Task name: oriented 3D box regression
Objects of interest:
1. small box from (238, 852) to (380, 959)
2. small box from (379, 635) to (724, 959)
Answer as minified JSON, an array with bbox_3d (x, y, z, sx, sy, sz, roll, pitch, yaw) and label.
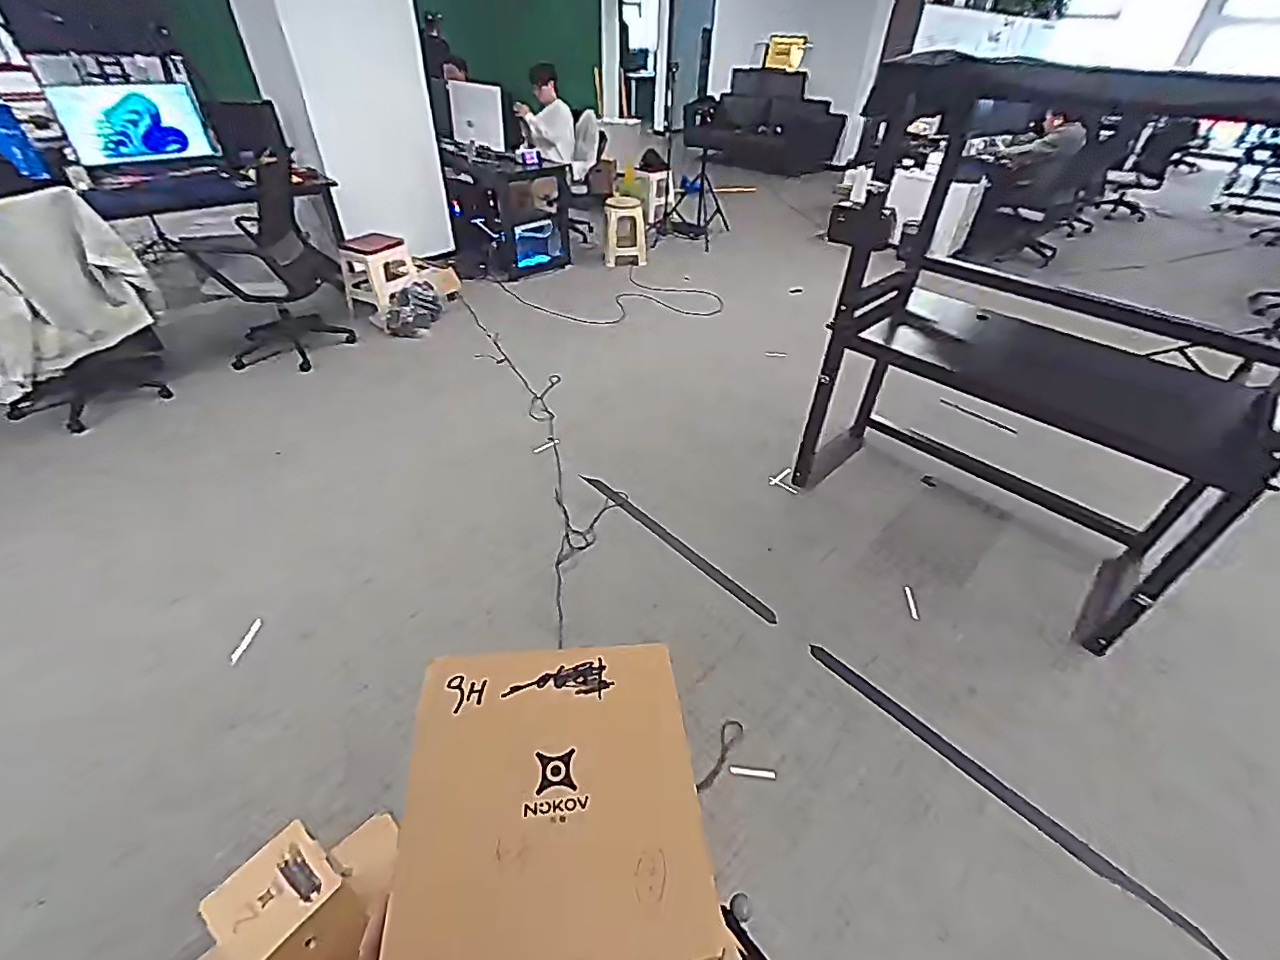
[{"bbox_3d":[-0.651,0.910,1.088,0.168,0.176,0.179,30,47,29],"label":"small box"},{"bbox_3d":[-0.057,0.229,0.363,0.168,0.176,0.179,-1,44,-11],"label":"small box"}]
